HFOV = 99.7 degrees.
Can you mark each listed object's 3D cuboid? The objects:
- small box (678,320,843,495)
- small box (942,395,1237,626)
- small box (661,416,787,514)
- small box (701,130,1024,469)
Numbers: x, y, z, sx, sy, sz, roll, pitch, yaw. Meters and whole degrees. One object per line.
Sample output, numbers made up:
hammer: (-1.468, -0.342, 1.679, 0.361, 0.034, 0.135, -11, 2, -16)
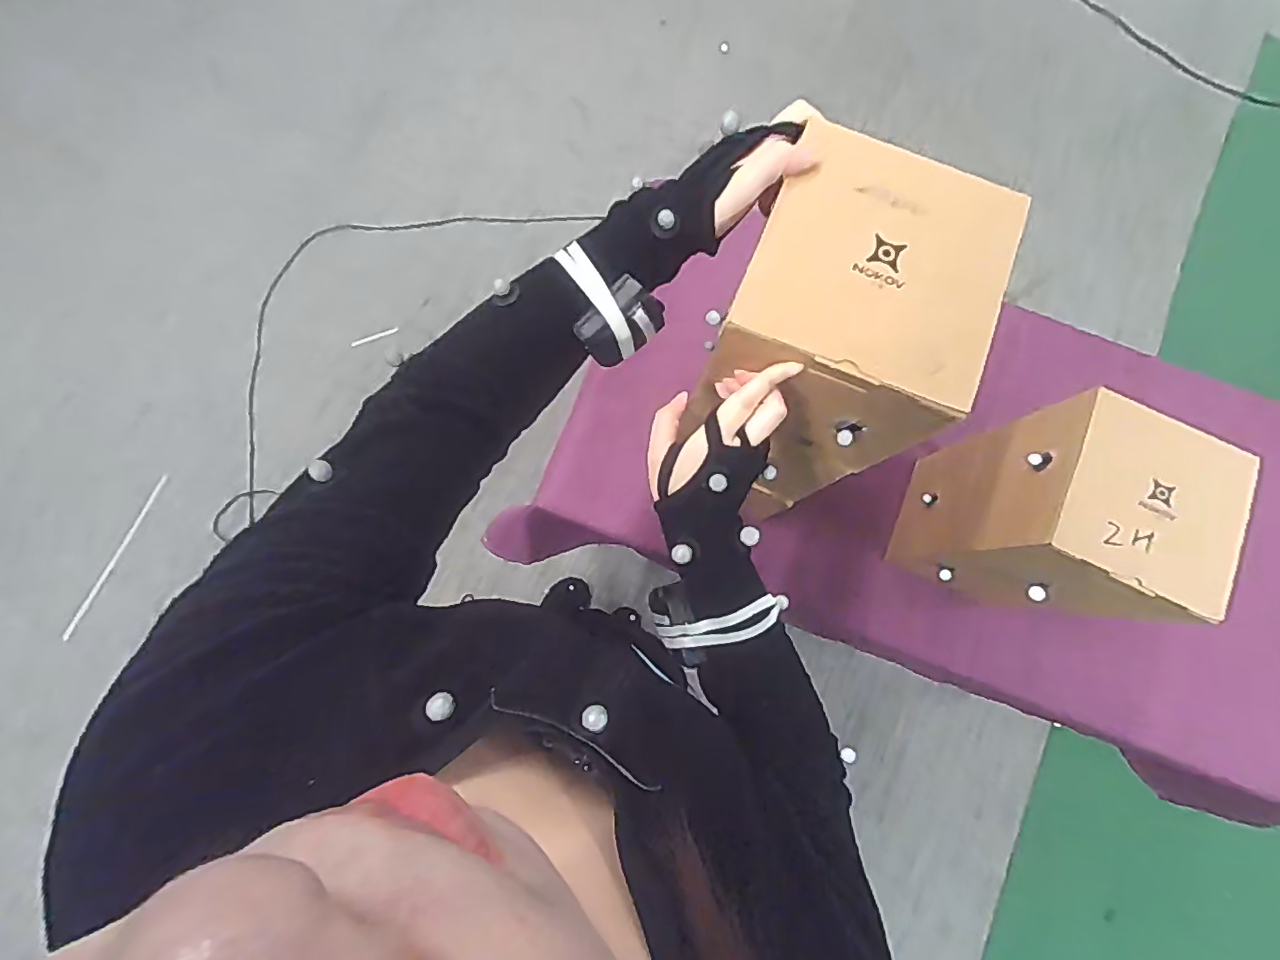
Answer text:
small box: (0.151, -0.099, 0.605, 0.168, 0.176, 0.179, 25, 78, 2)
small box: (0.474, 0.040, 0.597, 0.168, 0.176, 0.179, 26, 80, 3)
small box: (0.137, -0.064, 0.766, 0.168, 0.176, 0.179, 25, 80, 1)
small box: (0.159, -0.126, 0.444, 0.168, 0.176, 0.179, 23, 78, 1)
